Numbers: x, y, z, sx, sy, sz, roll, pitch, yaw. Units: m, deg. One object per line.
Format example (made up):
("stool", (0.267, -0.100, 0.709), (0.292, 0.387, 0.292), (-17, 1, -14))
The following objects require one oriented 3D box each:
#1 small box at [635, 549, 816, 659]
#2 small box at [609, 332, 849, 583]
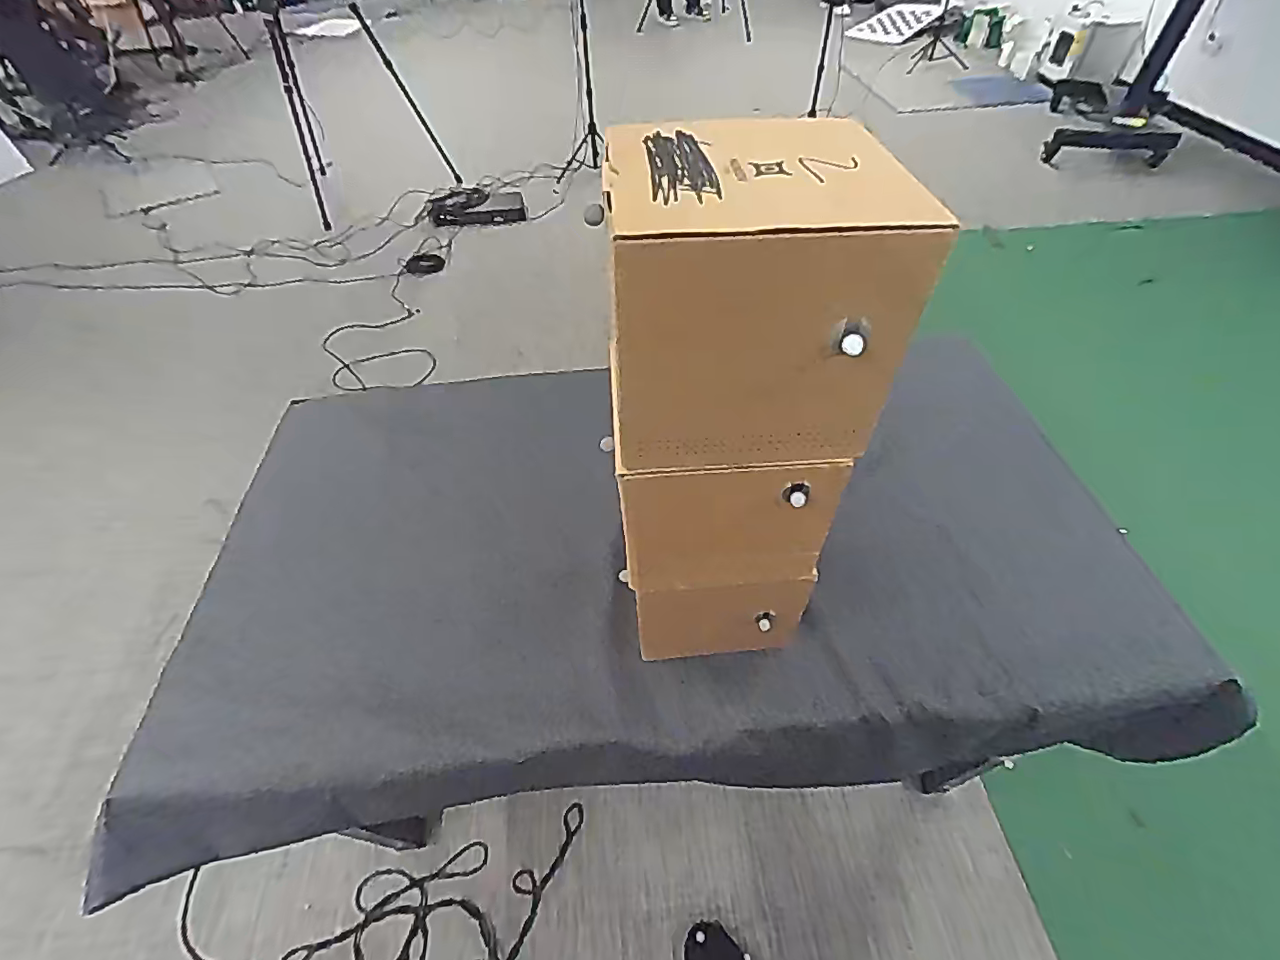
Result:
("small box", (0.080, 0.091, 0.624), (0.179, 0.176, 0.168), (-6, 49, -1))
("small box", (0.066, -0.016, 0.502), (0.179, 0.176, 0.168), (-3, 49, -1))
